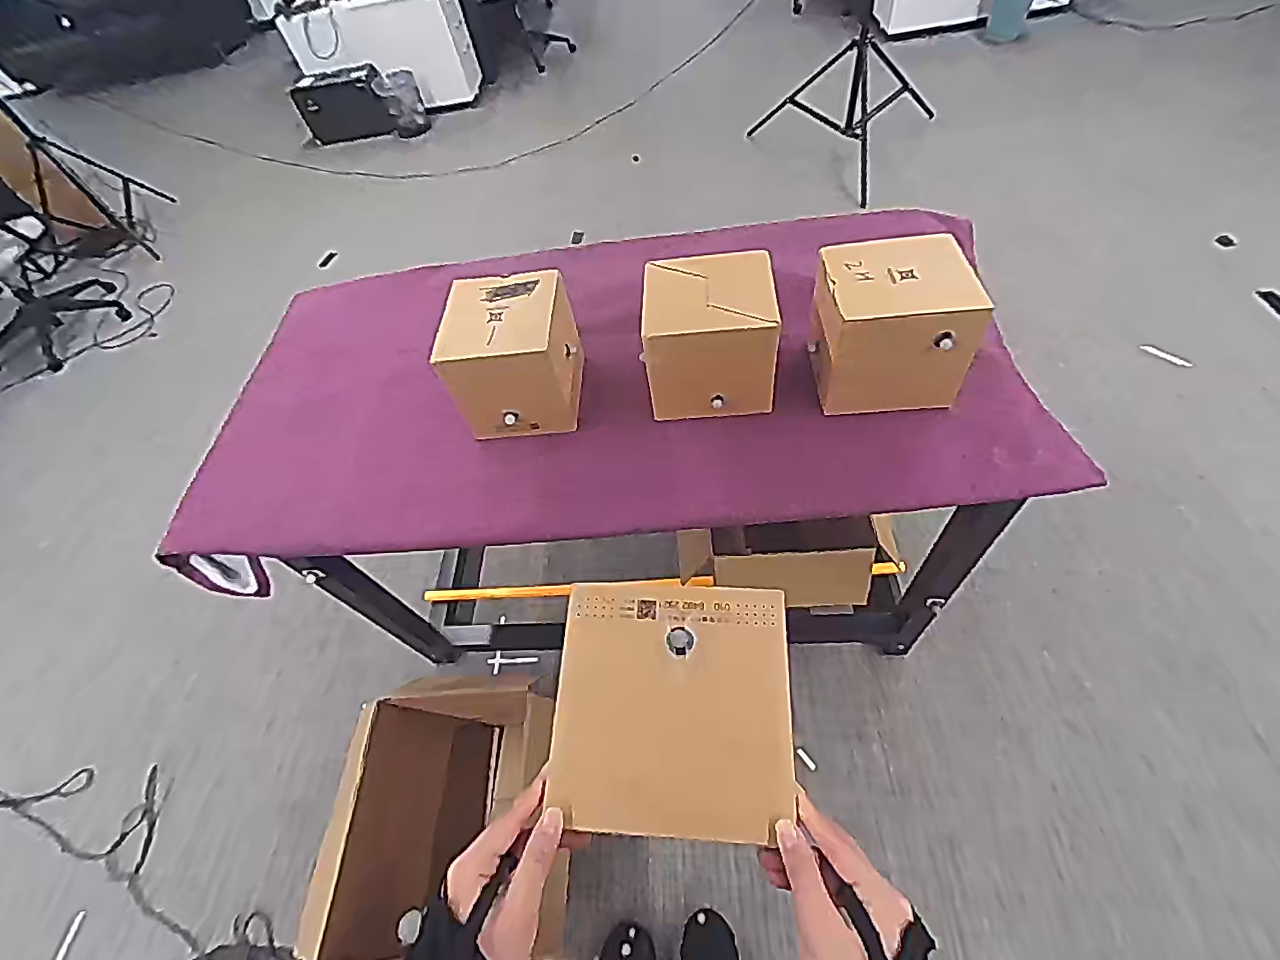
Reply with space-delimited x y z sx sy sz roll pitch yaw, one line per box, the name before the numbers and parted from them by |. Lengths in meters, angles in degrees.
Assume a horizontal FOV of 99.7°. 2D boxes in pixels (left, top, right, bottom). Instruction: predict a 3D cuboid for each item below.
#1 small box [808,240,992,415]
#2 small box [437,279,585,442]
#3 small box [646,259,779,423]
small box | 0.345 -0.208 0.760 0.179 0.176 0.168 -3 52 7
small box | -0.184 -0.181 0.833 0.168 0.176 0.179 -4 55 7
small box | 0.102 -0.203 0.797 0.179 0.176 0.168 -3 53 8
